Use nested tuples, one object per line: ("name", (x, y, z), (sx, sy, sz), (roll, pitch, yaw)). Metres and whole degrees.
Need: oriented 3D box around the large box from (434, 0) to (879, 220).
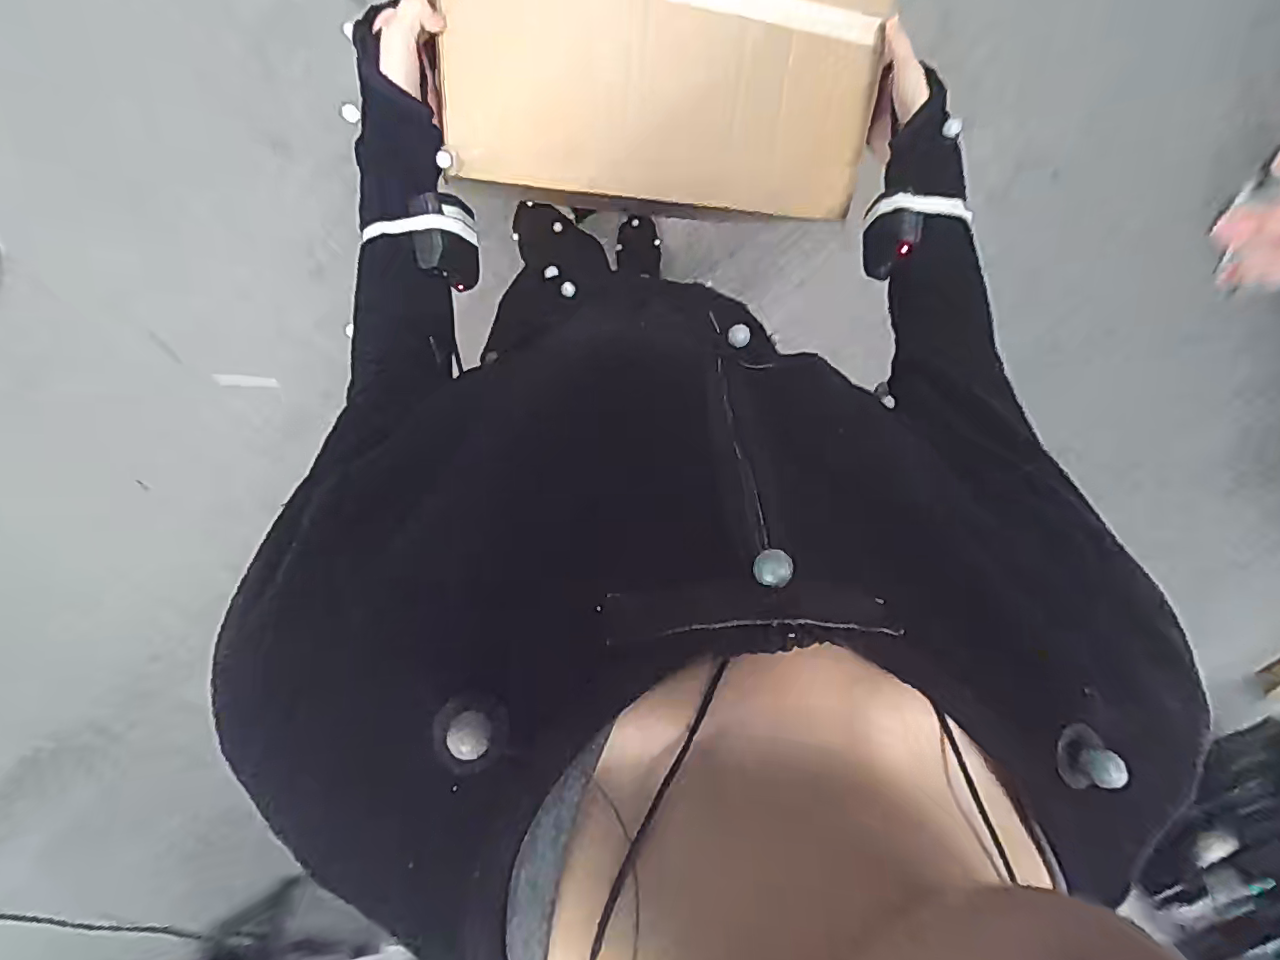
("large box", (-0.008, -0.471, 0.599), (0.408, 0.320, 0.320), (-3, 115, -16))
